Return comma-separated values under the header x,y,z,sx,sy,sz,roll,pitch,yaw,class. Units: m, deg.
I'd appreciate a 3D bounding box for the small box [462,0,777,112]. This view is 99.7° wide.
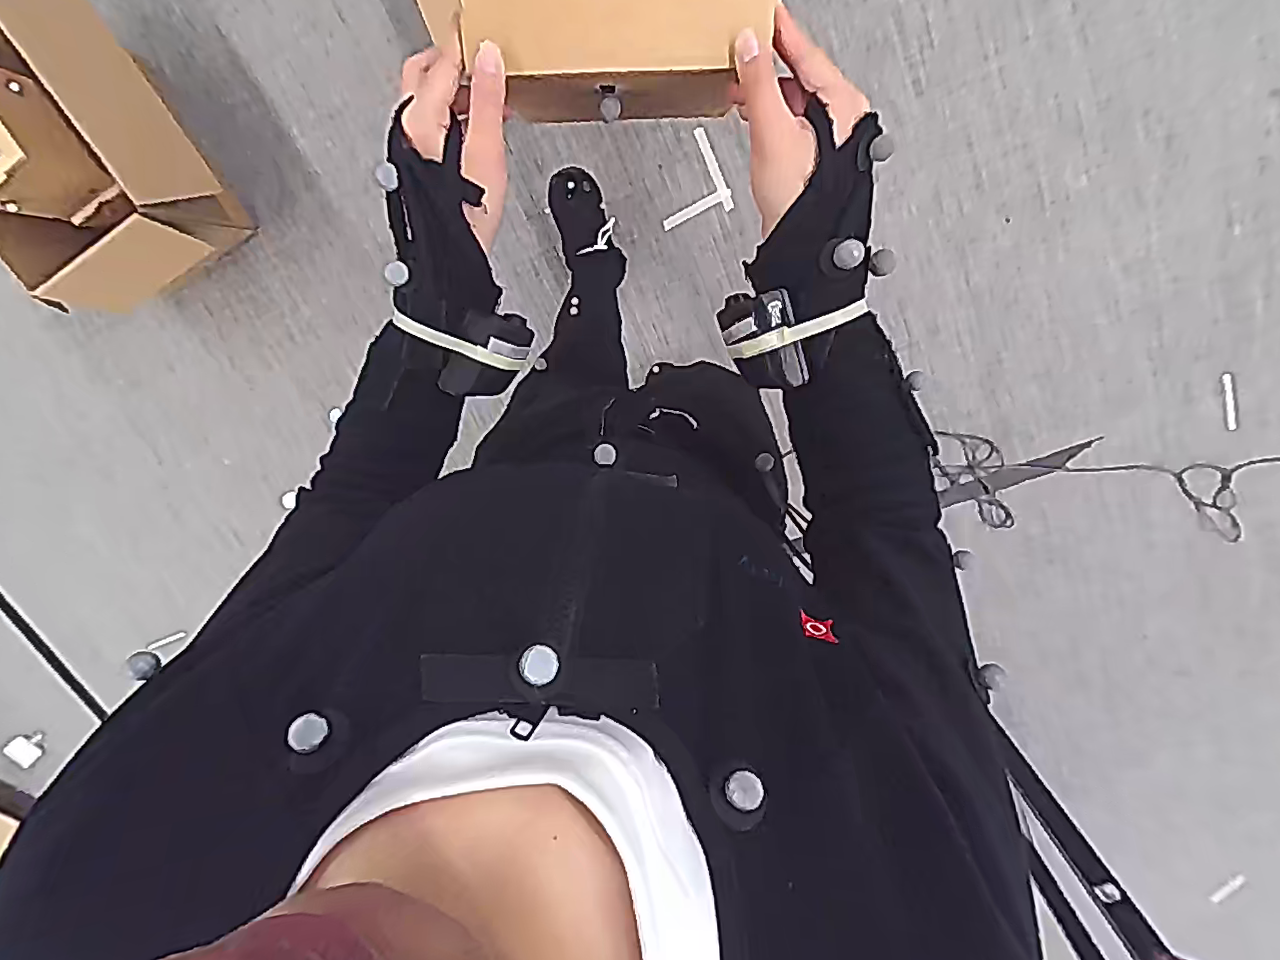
x,y,z,sx,sy,sz,roll,pitch,yaw,class
-0.012,-0.347,0.344,0.179,0.176,0.168,0,116,2,small box
